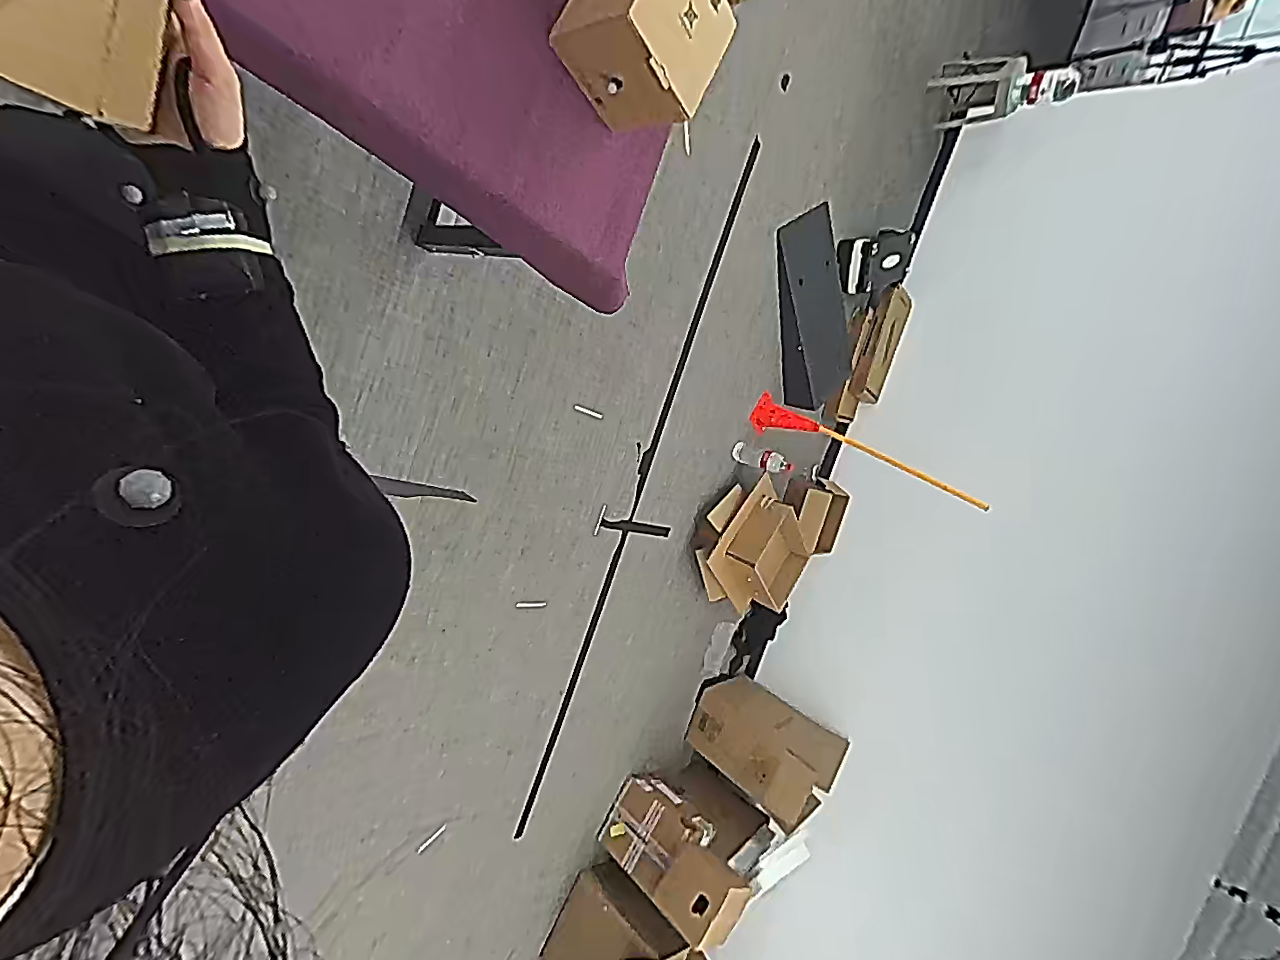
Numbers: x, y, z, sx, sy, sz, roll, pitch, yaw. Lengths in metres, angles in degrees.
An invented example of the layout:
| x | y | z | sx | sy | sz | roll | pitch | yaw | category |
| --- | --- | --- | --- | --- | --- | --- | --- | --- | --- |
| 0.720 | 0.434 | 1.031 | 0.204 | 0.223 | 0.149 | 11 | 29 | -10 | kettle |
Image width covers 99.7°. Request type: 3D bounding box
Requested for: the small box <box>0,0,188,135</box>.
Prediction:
| x | y | z | sx | sy | sz | roll | pitch | yaw | category |
| --- | --- | --- | --- | --- | --- | --- | --- | --- | --- |
| -0.314 | -0.288 | 0.240 | 0.168 | 0.176 | 0.179 | 13 | 109 | -40 | small box |

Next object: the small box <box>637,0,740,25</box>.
| x | y | z | sx | sy | sz | roll | pitch | yaw | category |
| --- | --- | --- | --- | --- | --- | --- | --- | --- | --- |
| 0.071 | -0.834 | 0.799 | 0.168 | 0.176 | 0.179 | 21 | 90 | -52 | small box |
